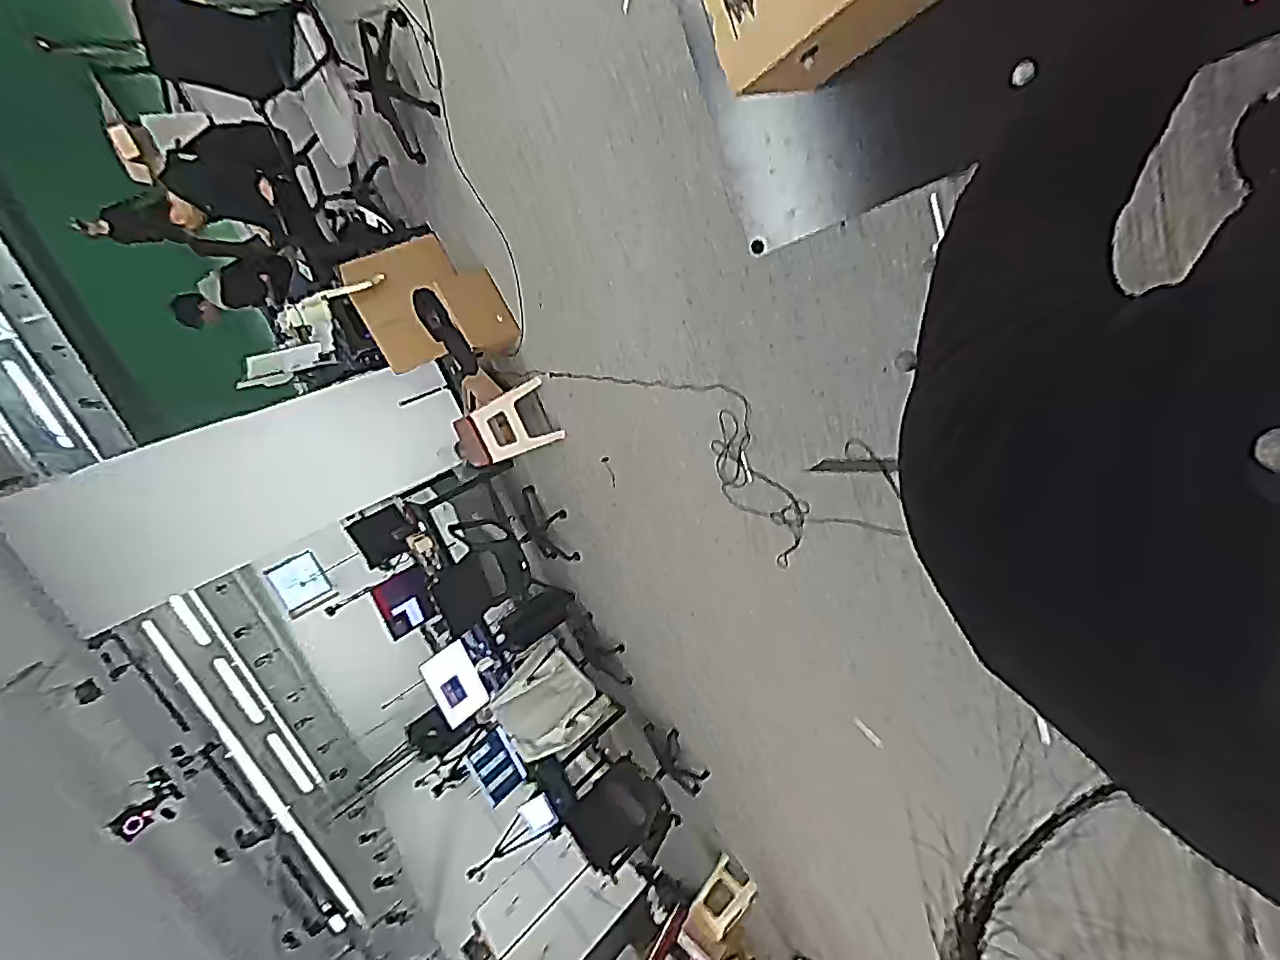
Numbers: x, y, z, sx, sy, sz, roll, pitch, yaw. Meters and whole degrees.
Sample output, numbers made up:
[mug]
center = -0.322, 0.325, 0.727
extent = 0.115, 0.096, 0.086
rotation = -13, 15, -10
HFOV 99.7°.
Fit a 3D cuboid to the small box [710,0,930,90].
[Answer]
[small box]
center = 0.192, -0.557, 0.580
extent = 0.179, 0.176, 0.168
rotation = -3, 114, 53
